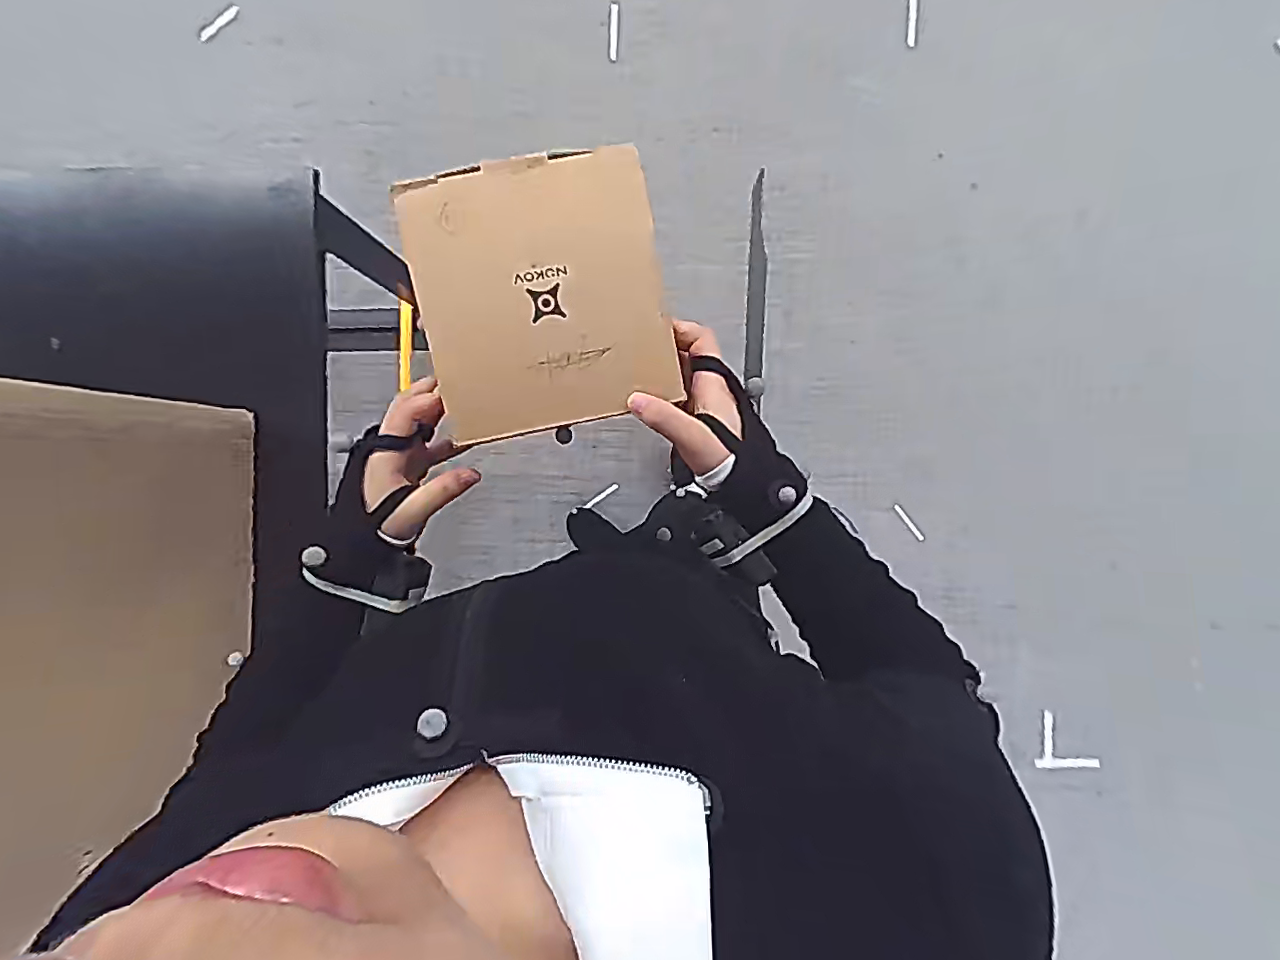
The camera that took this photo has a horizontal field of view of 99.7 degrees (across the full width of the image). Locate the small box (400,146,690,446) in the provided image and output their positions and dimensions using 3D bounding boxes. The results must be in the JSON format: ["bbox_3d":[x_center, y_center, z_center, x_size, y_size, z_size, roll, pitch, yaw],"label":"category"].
[{"bbox_3d":[-0.068,-0.130,0.437,0.168,0.176,0.179,-11,99,-5],"label":"small box"}]
